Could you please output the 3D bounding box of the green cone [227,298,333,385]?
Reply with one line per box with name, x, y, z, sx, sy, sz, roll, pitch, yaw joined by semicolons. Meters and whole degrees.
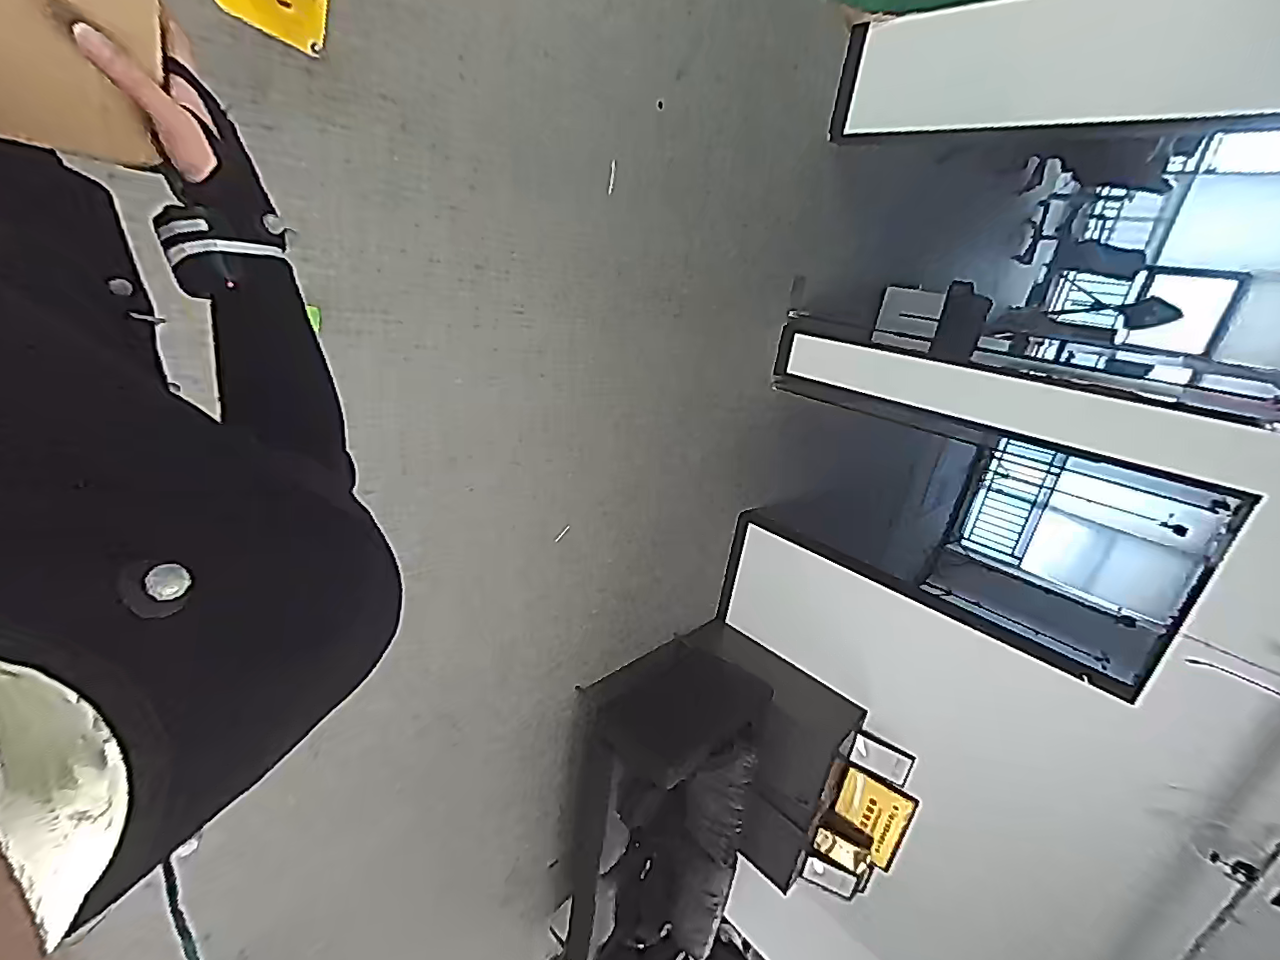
green cone;-0.802;-0.289;1.265;0.200;0.368;0.202;-6;114;-48
